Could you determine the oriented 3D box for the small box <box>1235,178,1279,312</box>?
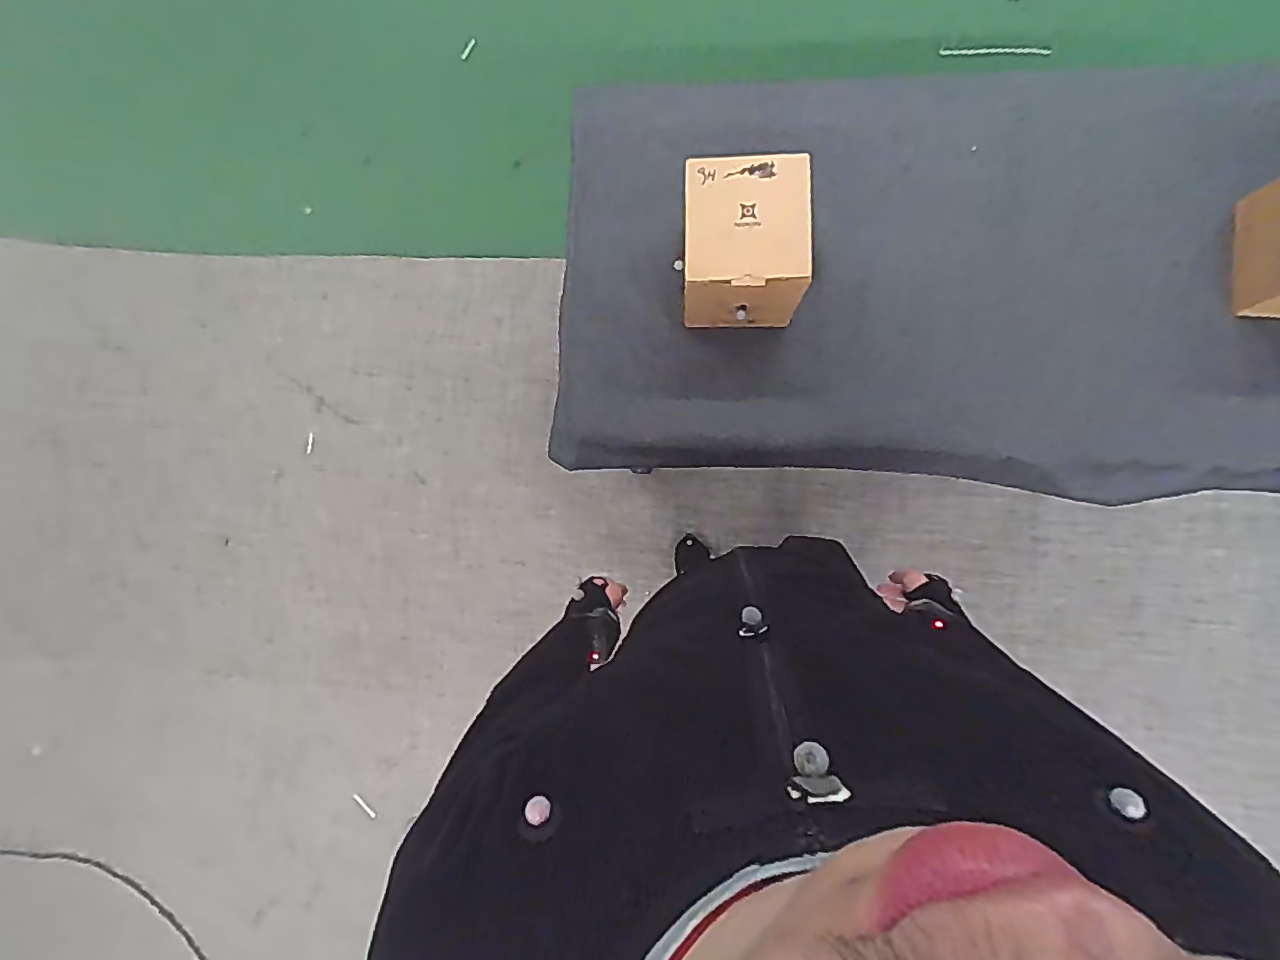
[{"bbox_3d":[0.951,-0.328,0.712,0.168,0.176,0.179,5,85,5],"label":"small box"}]

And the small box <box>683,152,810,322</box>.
[{"bbox_3d":[0.147,-0.340,0.790,0.168,0.176,0.179,0,86,5],"label":"small box"}]
